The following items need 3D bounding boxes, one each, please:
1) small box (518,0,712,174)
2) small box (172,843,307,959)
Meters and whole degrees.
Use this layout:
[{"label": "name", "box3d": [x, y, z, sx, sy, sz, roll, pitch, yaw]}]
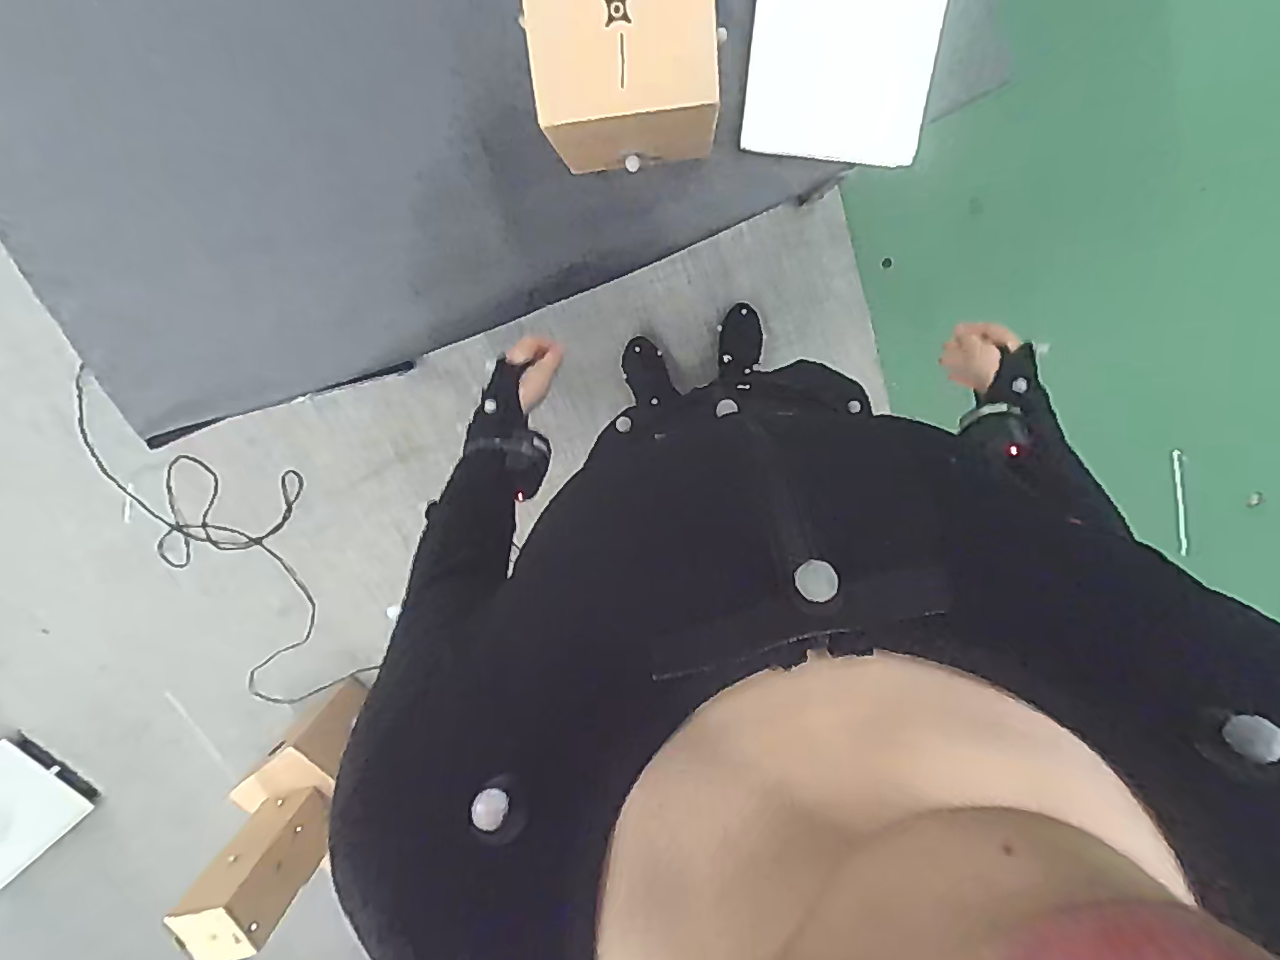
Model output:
[{"label": "small box", "box3d": [-0.019, -0.431, 0.541, 0.168, 0.176, 0.179, -4, 107, 6]}, {"label": "small box", "box3d": [-0.994, 1.056, 1.358, 0.179, 0.176, 0.168, -17, 106, 11]}]
